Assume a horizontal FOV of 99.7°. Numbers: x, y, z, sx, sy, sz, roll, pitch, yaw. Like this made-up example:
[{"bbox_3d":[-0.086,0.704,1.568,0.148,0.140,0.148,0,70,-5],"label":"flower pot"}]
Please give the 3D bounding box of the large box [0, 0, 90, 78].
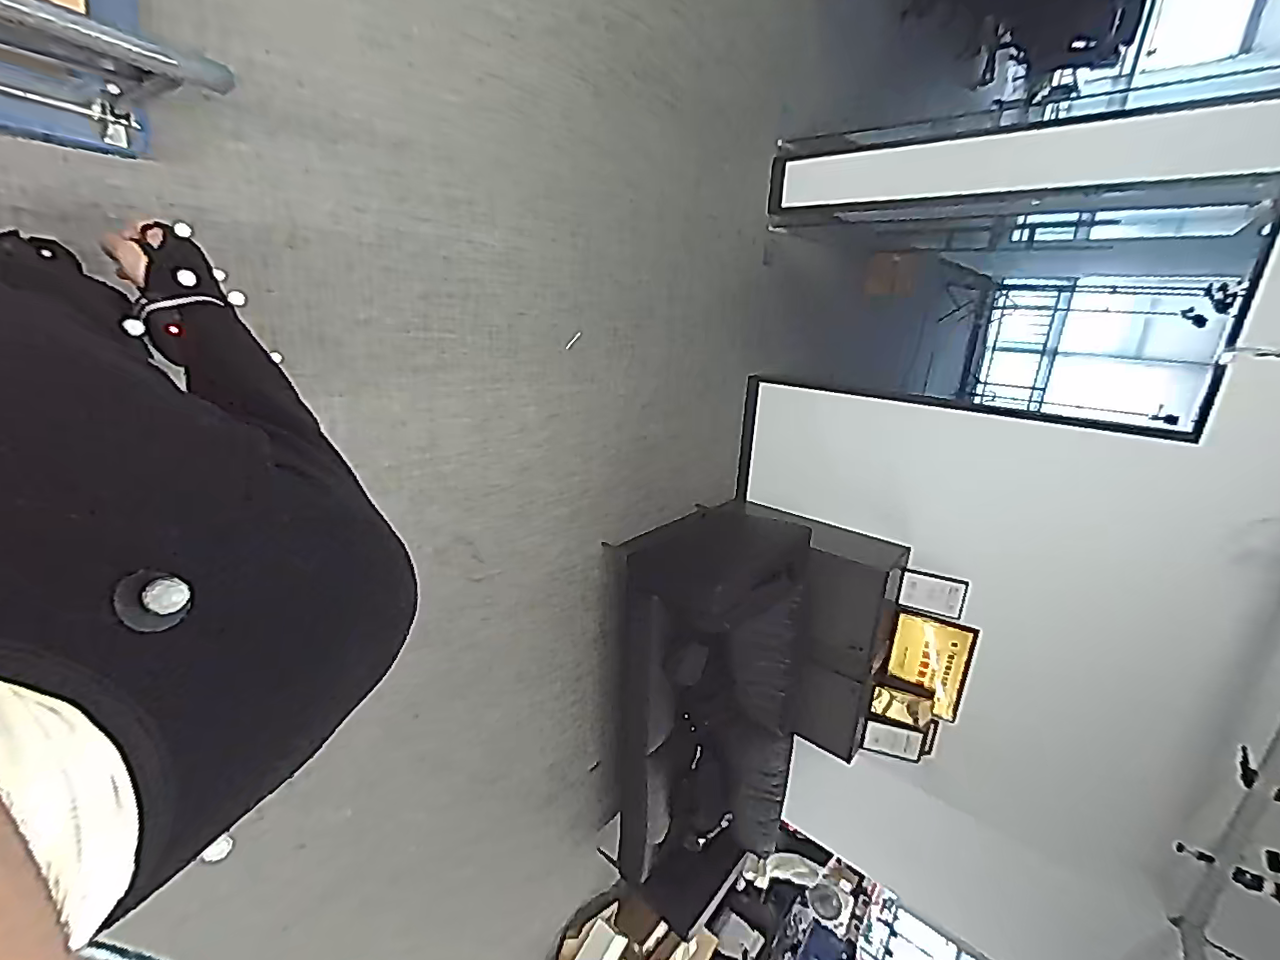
[{"bbox_3d":[-0.966,-0.824,0.682,0.320,0.320,0.408,-12,112,-50],"label":"large box"}]
